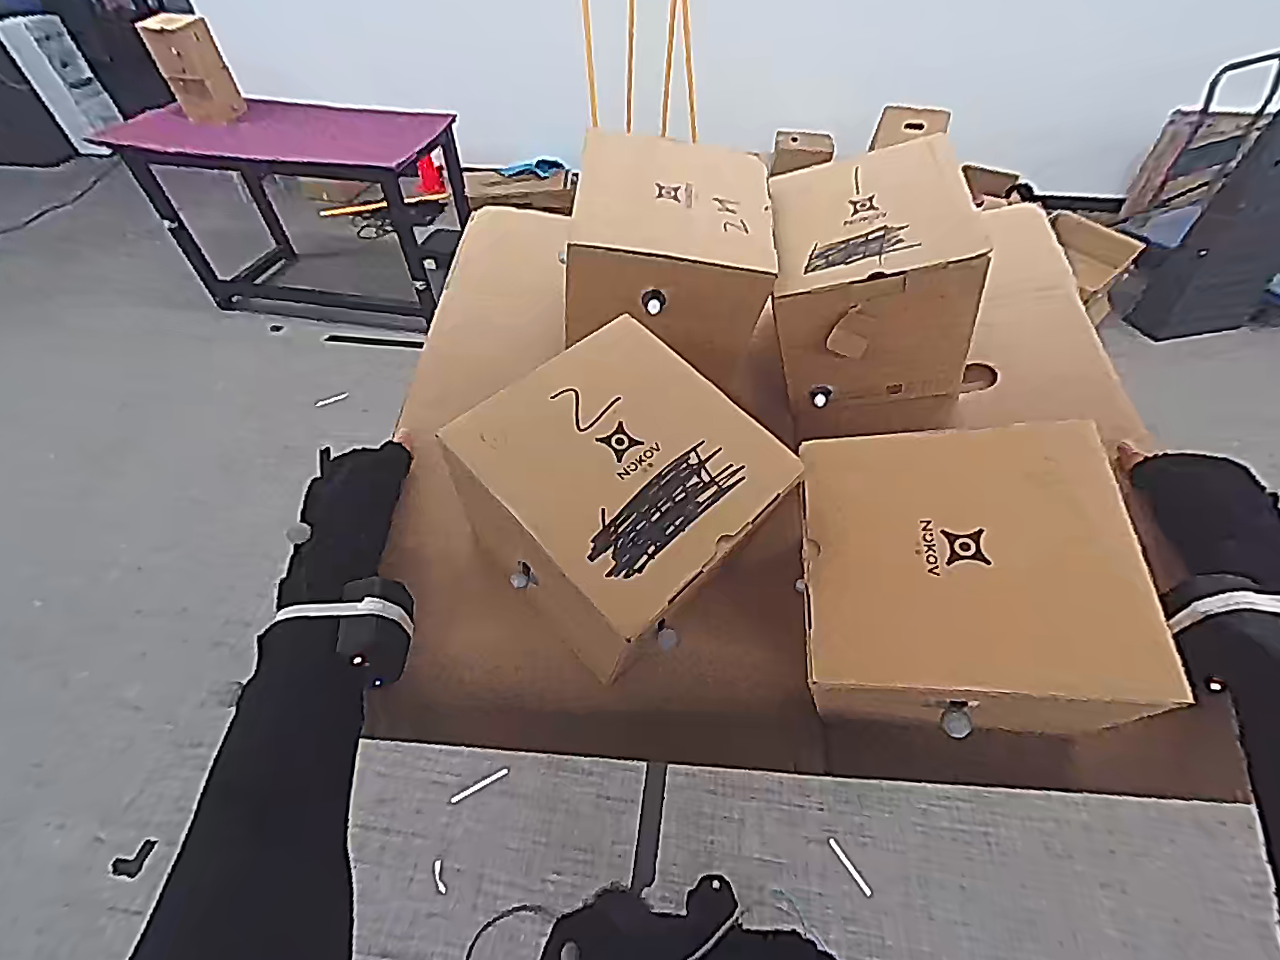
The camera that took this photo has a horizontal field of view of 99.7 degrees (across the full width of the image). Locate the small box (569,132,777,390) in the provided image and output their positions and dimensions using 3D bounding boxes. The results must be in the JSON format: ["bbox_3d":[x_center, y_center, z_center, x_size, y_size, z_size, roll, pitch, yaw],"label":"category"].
[{"bbox_3d":[0.023,-0.210,0.548,0.179,0.176,0.168,7,62,-5],"label":"small box"}]
